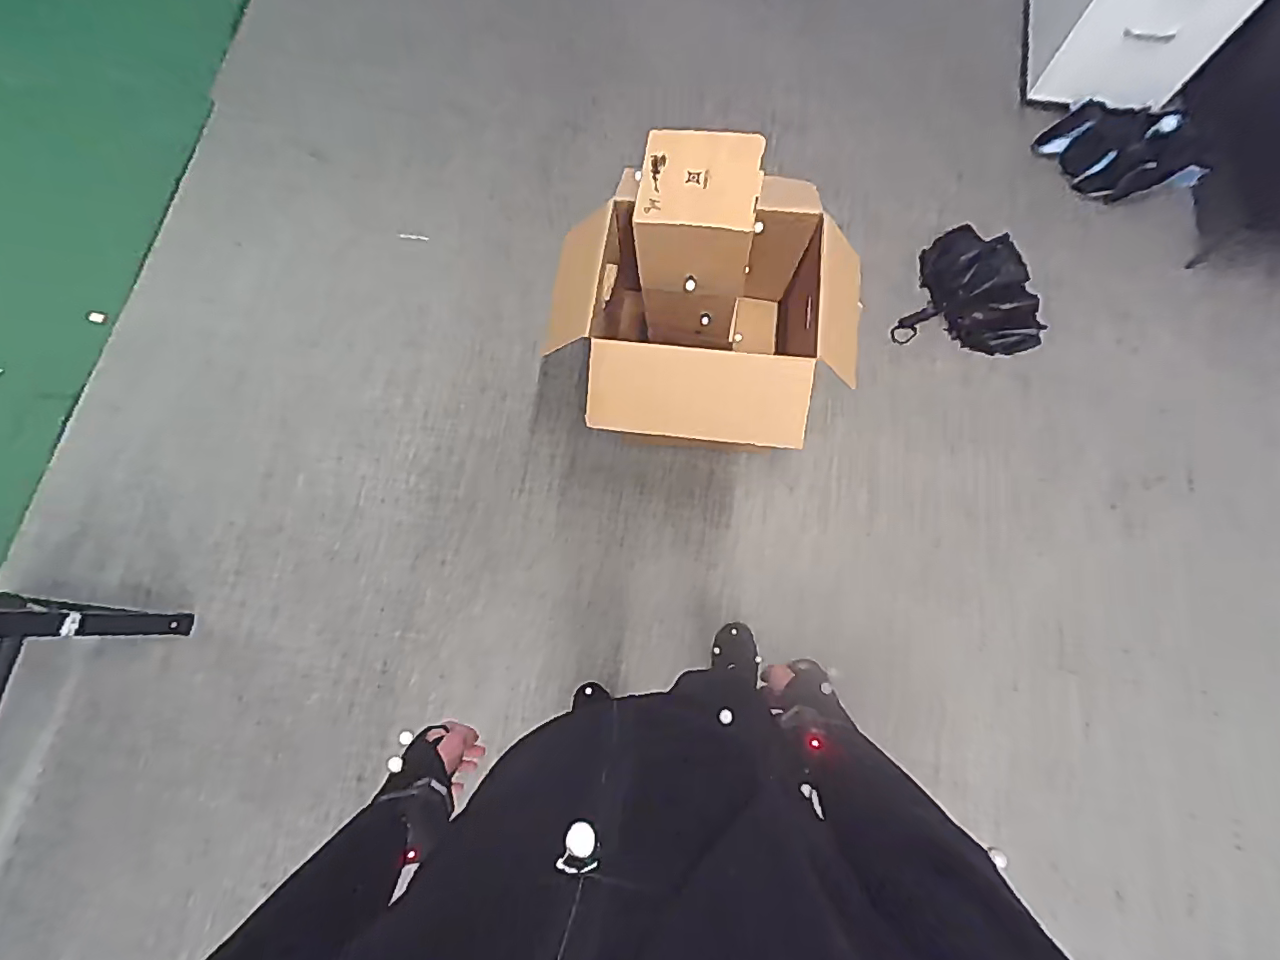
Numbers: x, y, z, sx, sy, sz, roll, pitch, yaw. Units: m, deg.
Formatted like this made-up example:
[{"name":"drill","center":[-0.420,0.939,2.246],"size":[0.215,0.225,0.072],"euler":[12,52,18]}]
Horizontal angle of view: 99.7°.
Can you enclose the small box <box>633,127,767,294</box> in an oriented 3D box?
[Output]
[{"name":"small box","center":[0.094,-0.420,0.864],"size":[0.179,0.176,0.168],"euler":[9,77,6]}]
